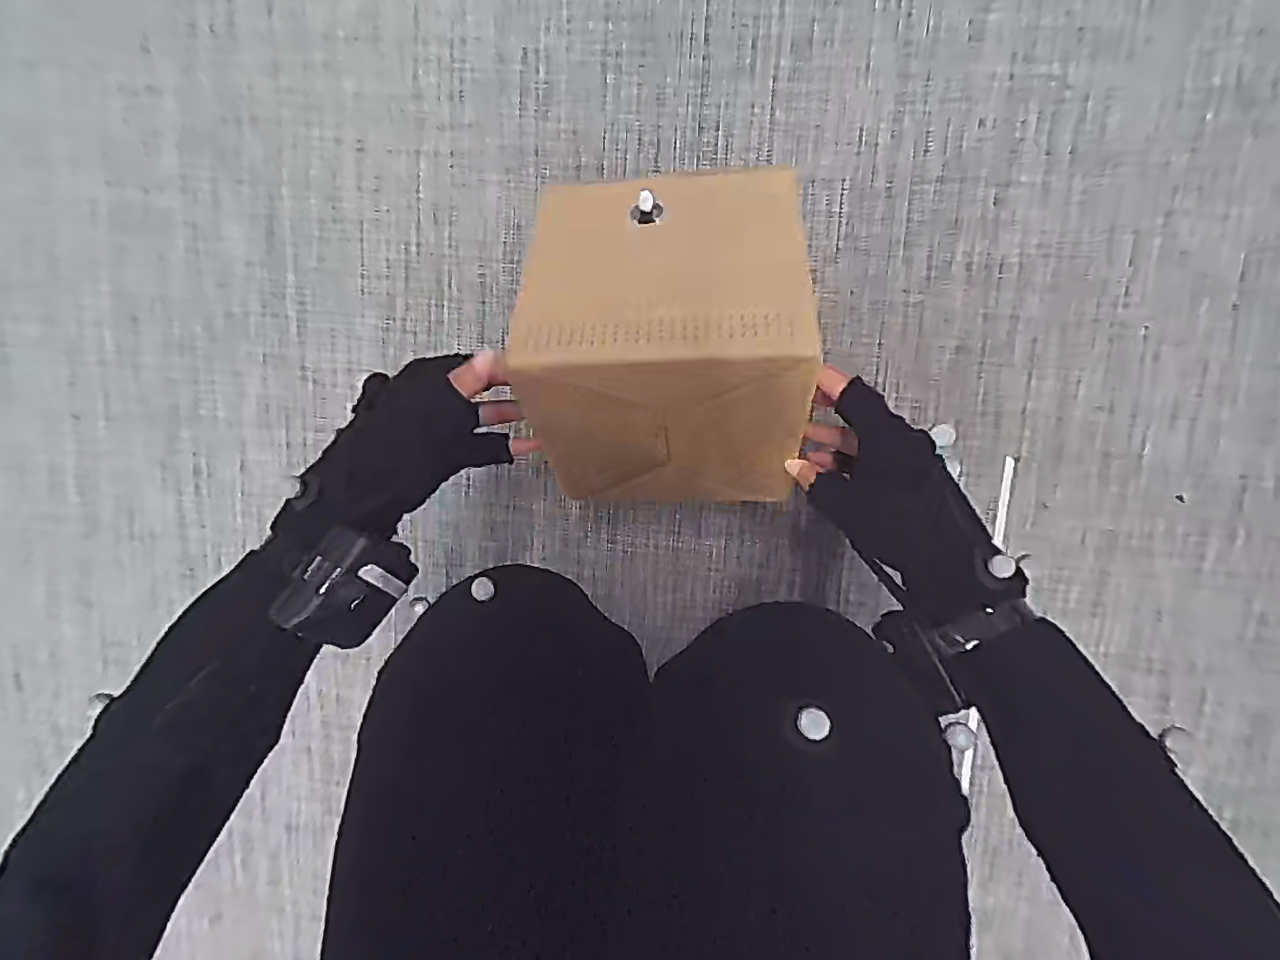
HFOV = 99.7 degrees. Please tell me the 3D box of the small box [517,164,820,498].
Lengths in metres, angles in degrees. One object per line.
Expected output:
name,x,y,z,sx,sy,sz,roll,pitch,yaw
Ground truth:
small box,0.024,-0.092,0.396,0.179,0.168,0.176,-1,64,9
